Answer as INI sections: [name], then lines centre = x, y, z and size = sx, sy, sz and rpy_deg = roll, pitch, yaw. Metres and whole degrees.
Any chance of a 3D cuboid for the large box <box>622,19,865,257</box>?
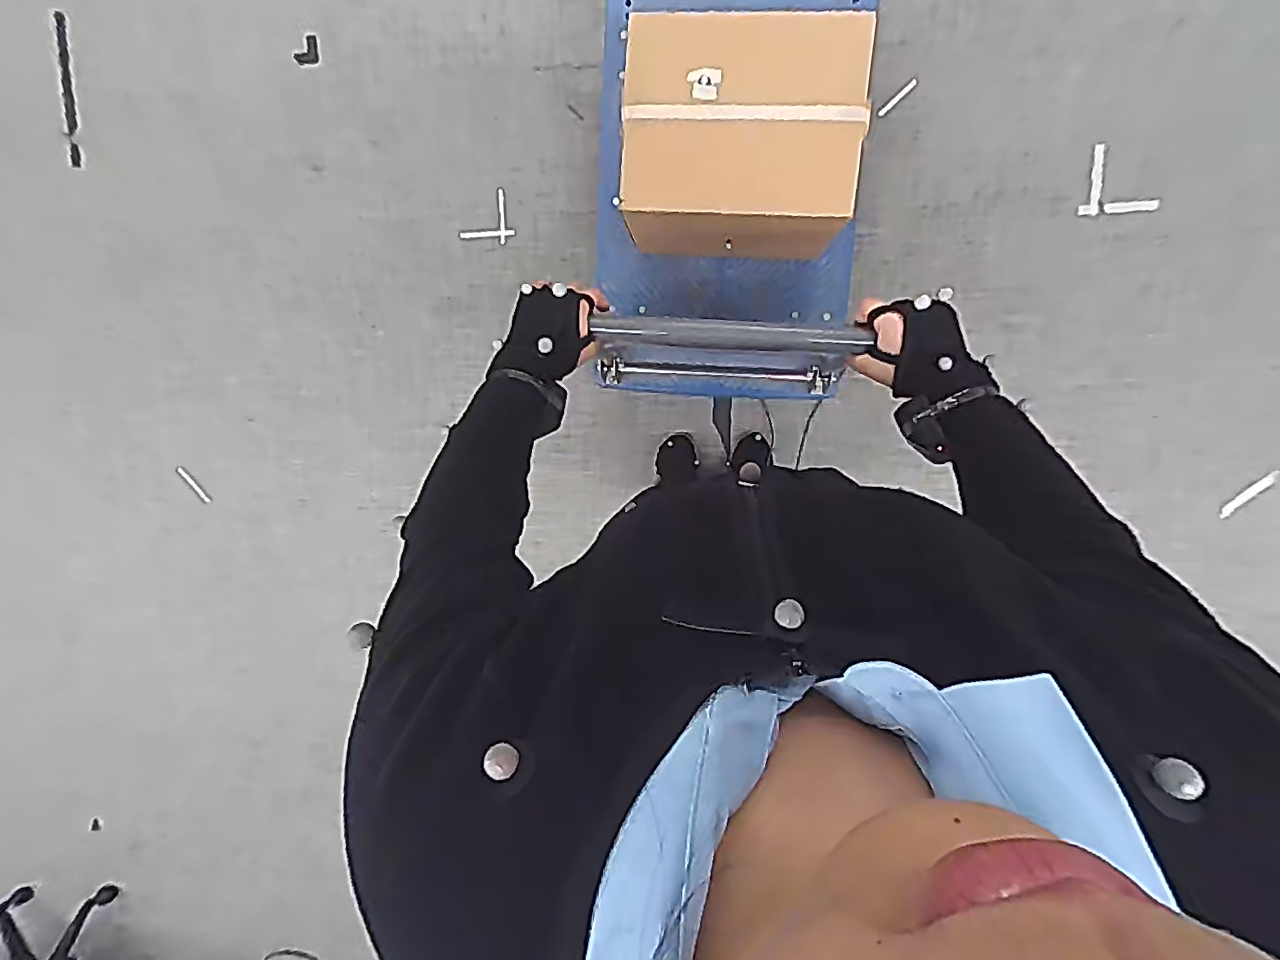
[large box]
centre = 0.190, -0.644, 1.081
size = 0.408, 0.320, 0.320
rpy_deg = 5, 99, 7
